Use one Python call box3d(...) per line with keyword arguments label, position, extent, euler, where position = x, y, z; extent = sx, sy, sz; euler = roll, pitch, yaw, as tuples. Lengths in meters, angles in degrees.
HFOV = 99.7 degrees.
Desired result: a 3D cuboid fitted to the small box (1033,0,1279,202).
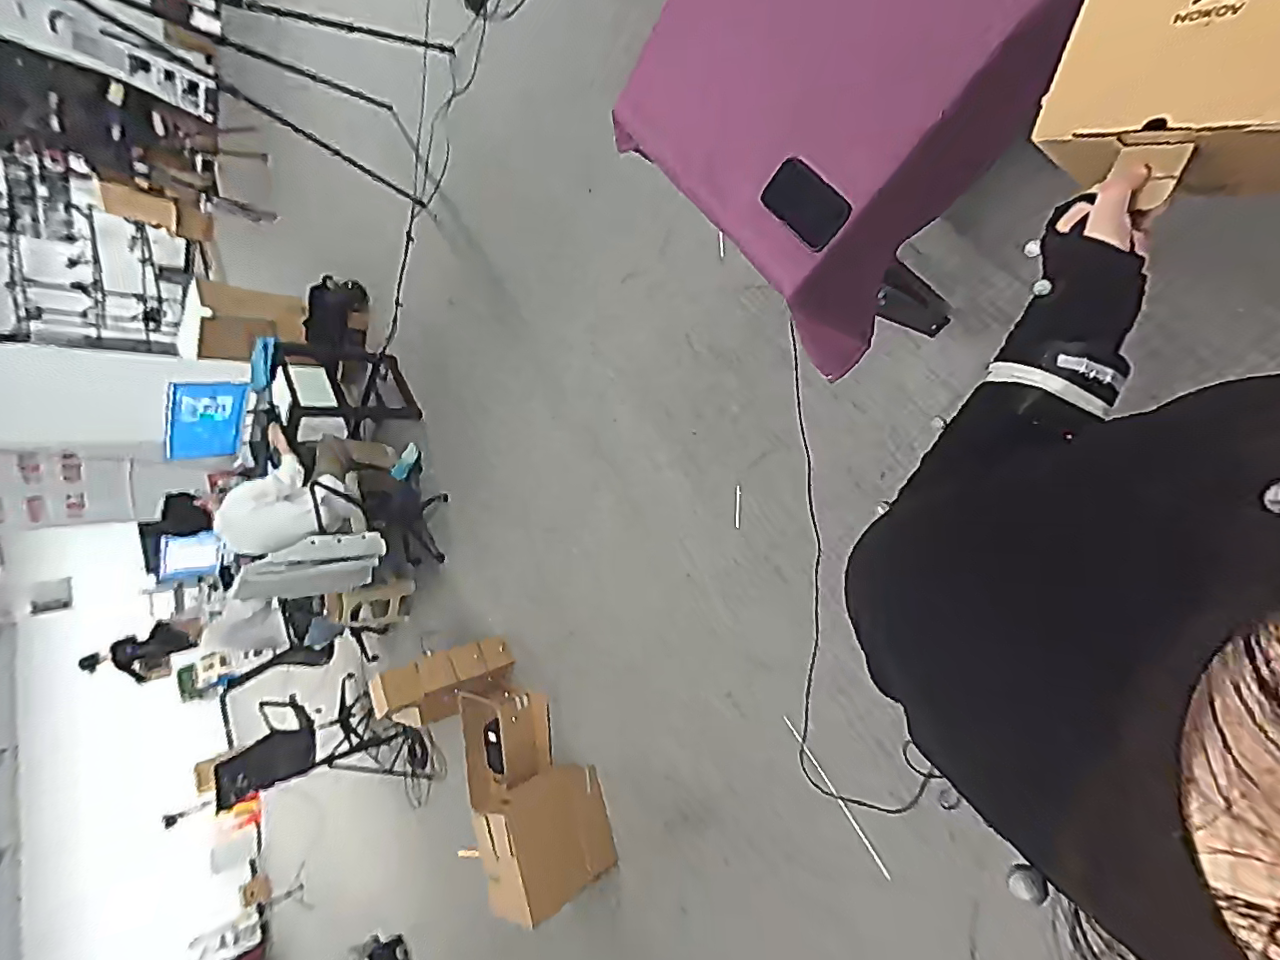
box3d(label="small box", position=(0.465, -0.342, 0.432), extent=(0.168, 0.176, 0.179), euler=(33, 119, 45))
